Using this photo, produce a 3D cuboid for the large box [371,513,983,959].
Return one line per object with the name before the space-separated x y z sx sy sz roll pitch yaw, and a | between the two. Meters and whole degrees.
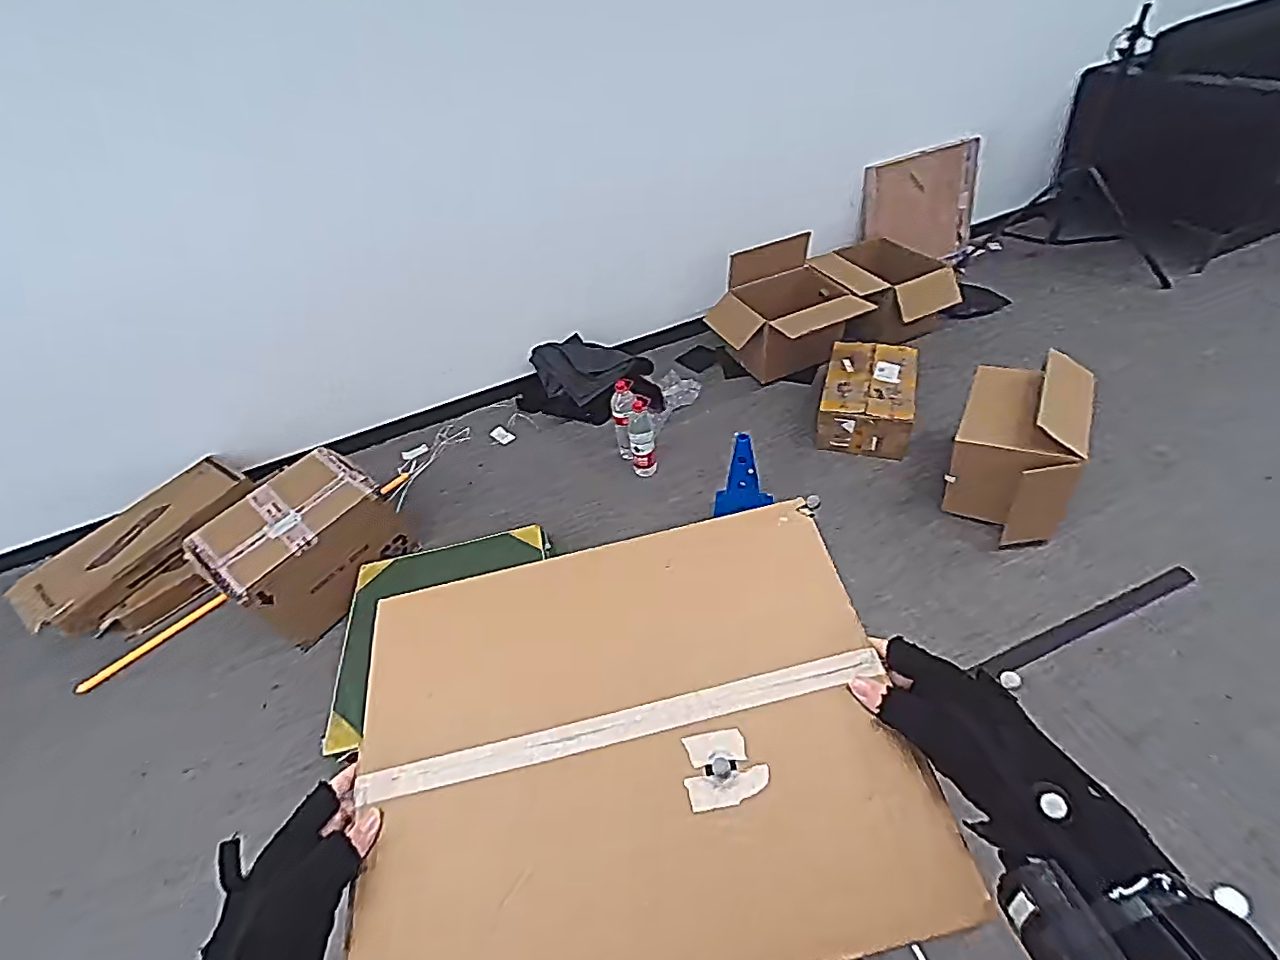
large box | 0.012 0.284 0.539 0.408 0.320 0.320 -13 54 -1
